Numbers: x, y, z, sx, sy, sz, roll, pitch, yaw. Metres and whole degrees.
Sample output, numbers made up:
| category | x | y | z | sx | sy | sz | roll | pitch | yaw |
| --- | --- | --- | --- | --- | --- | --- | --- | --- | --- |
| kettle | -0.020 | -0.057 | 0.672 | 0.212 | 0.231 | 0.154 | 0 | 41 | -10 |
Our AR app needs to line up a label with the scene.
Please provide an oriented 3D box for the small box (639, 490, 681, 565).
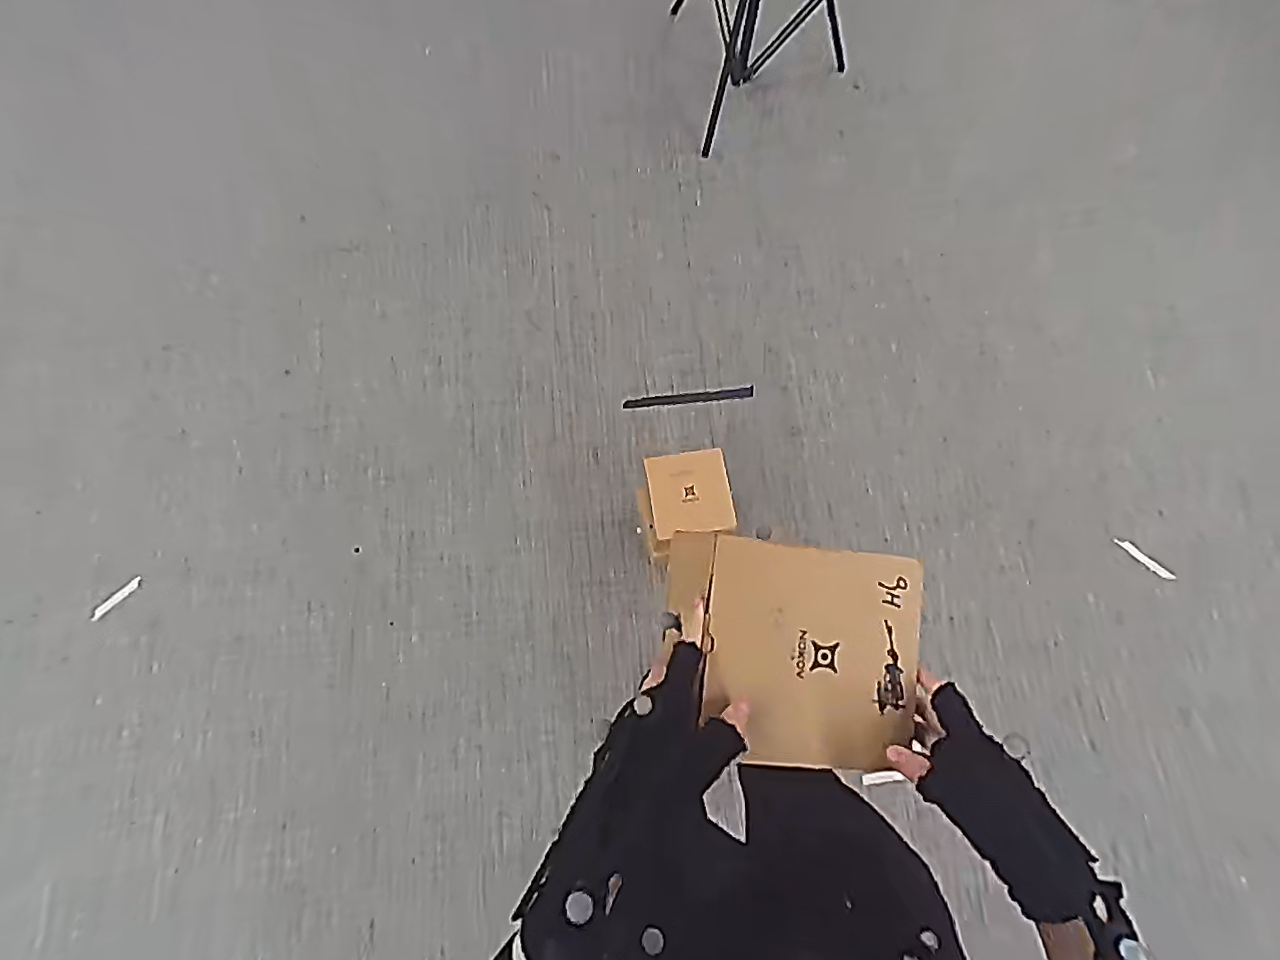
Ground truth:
| category | x | y | z | sx | sy | sz | roll | pitch | yaw |
| --- | --- | --- | --- | --- | --- | --- | --- | --- | --- |
| small box | 0.097 | 0.106 | 1.321 | 0.179 | 0.176 | 0.168 | -12 | 75 | -3 |

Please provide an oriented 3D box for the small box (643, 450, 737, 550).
| category | x | y | z | sx | sy | sz | roll | pitch | yaw |
| --- | --- | --- | --- | --- | --- | --- | --- | --- | --- |
| small box | 0.101 | 0.052 | 1.168 | 0.168 | 0.176 | 0.179 | -8 | 74 | -4 |

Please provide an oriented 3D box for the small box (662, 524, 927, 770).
| category | x | y | z | sx | sy | sz | roll | pitch | yaw |
| --- | --- | --- | --- | --- | --- | --- | --- | --- | --- |
| small box | 0.122 | 0.135 | 0.489 | 0.179 | 0.176 | 0.168 | 8 | 83 | -6 |
